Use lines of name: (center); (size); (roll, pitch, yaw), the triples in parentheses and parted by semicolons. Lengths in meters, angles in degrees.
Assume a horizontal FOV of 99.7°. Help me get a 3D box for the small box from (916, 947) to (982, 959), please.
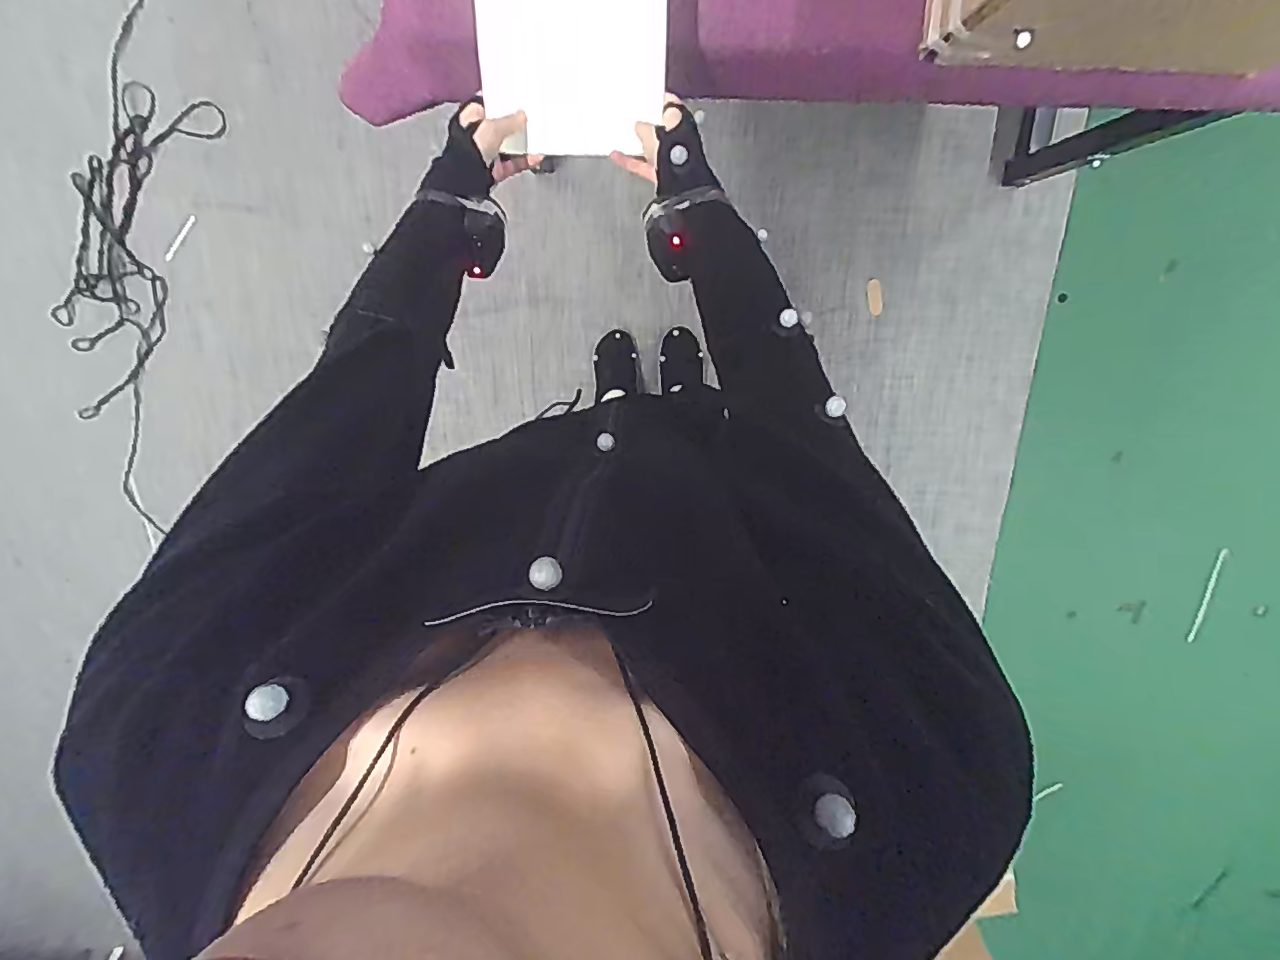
small box: (0.780, 1.288, 1.311); (0.179, 0.176, 0.168); (-13, 105, 3)

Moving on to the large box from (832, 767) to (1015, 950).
large box: (0.872, 1.175, 1.703); (0.408, 0.320, 0.320); (-13, 106, 3)
